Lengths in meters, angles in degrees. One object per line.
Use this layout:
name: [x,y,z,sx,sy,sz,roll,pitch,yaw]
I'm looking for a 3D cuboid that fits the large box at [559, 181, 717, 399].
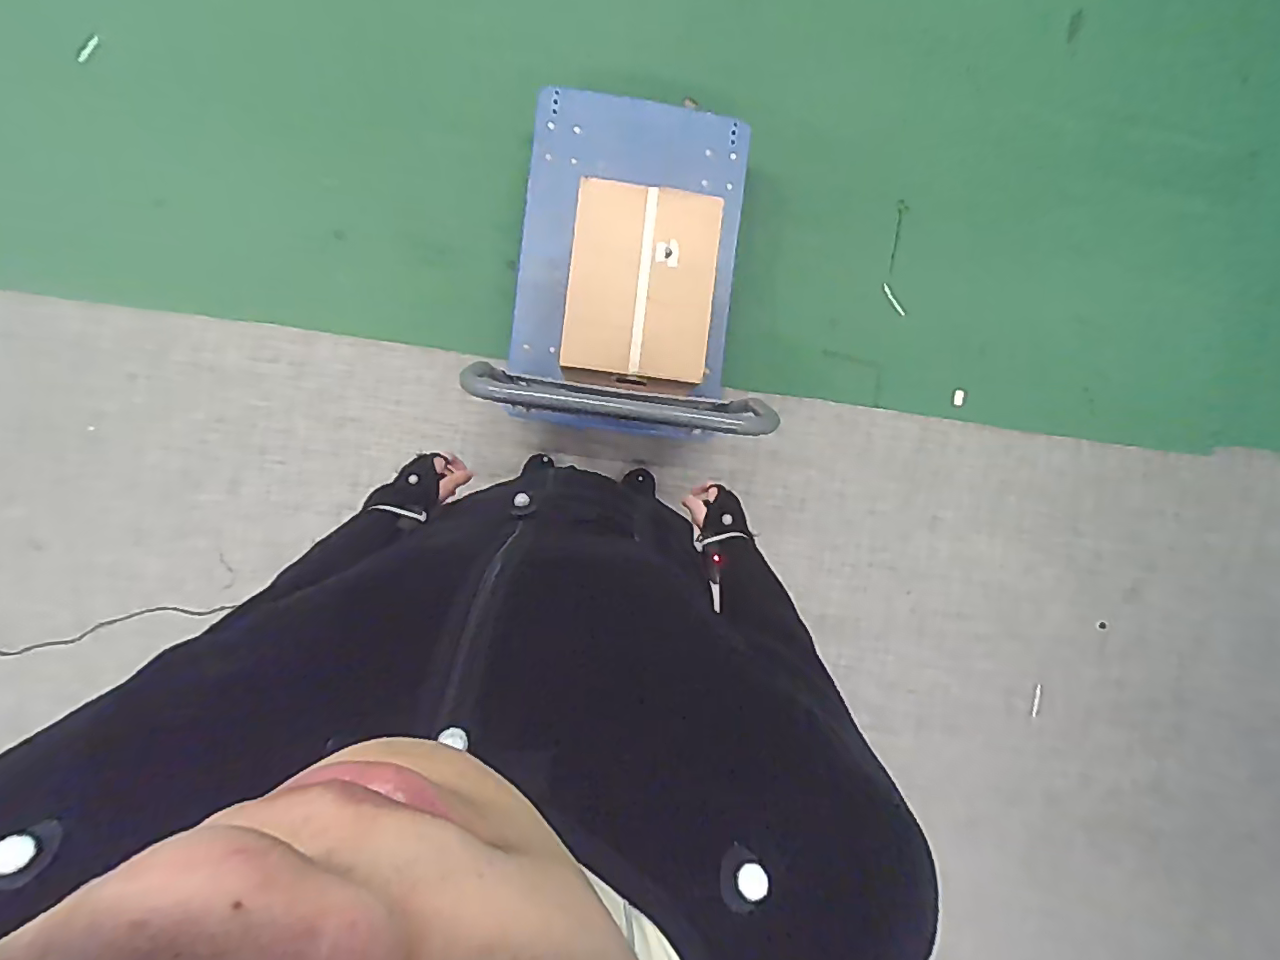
large box: [-0.014,-0.425,1.307,0.320,0.320,0.408,6,90,-6]
